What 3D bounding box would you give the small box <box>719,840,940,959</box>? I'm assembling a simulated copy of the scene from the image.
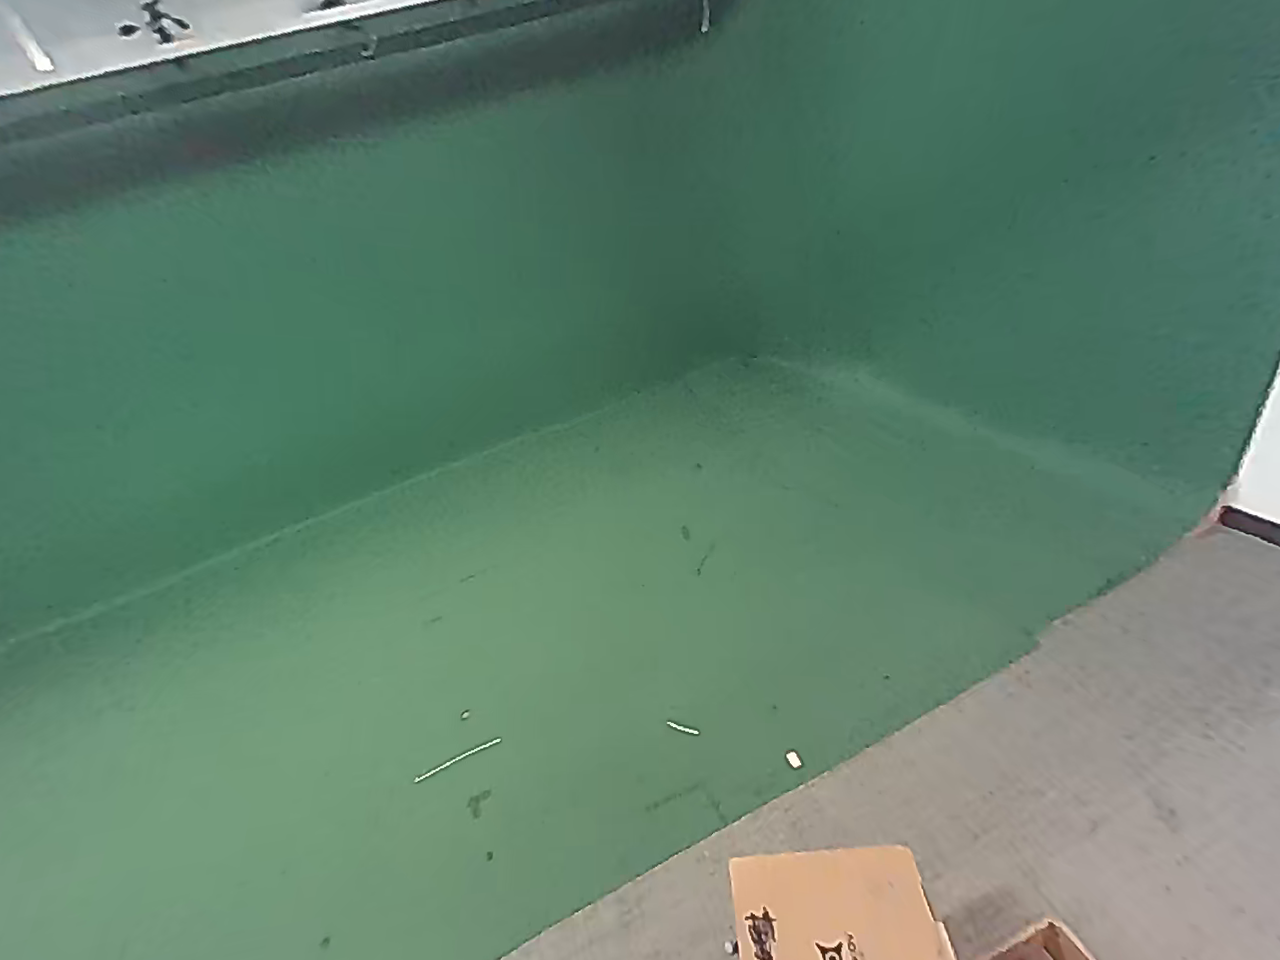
[{"bbox_3d":[0.170,0.462,0.501,0.179,0.176,0.168,-6,34,4],"label":"small box"}]
